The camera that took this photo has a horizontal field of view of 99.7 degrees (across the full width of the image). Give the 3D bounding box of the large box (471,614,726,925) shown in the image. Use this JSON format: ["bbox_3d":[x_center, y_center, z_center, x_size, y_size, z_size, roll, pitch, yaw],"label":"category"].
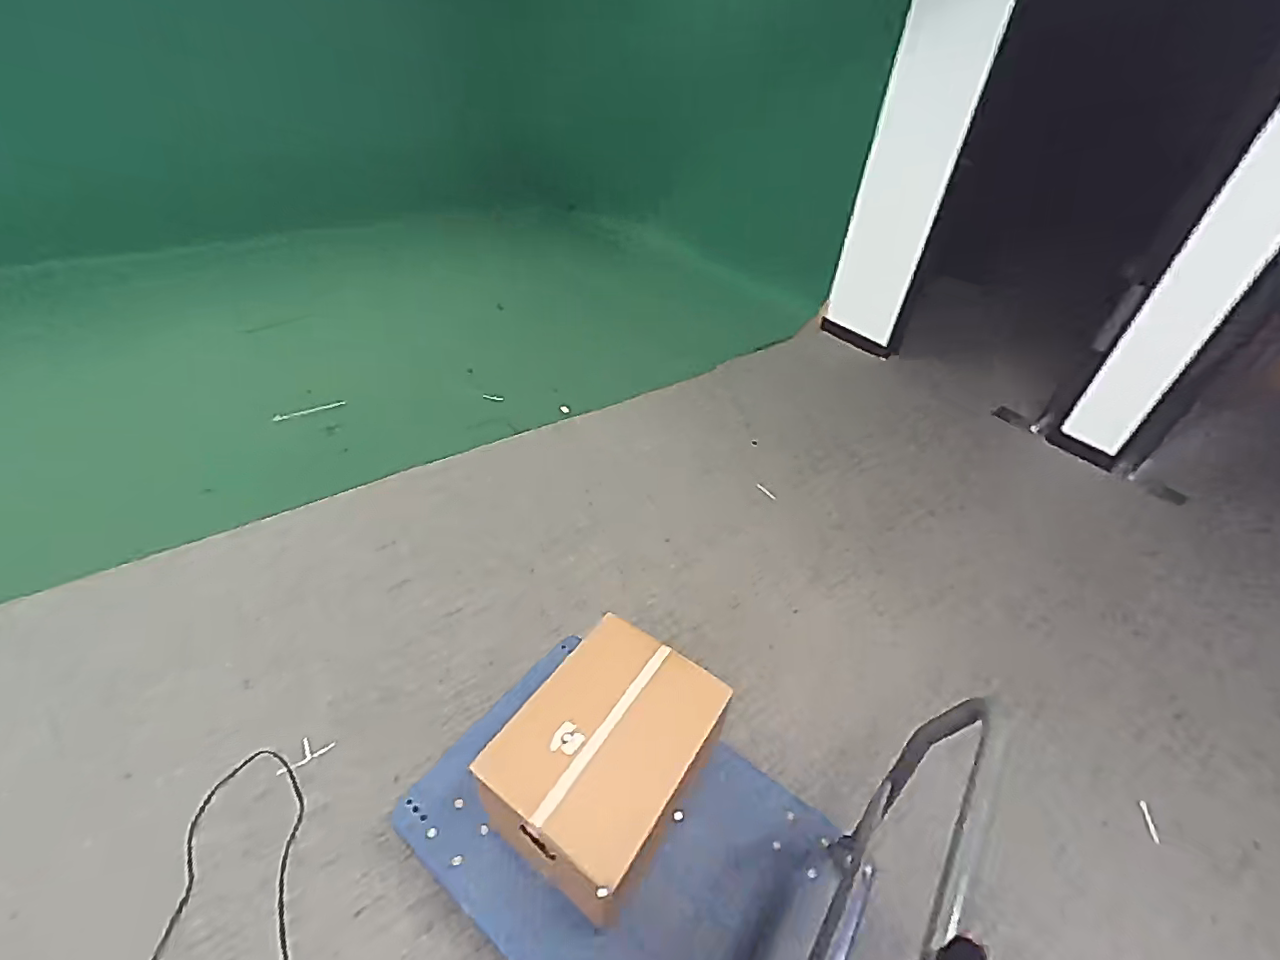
[{"bbox_3d":[-0.067,0.566,1.101,0.320,0.320,0.408,26,47,25],"label":"large box"}]
